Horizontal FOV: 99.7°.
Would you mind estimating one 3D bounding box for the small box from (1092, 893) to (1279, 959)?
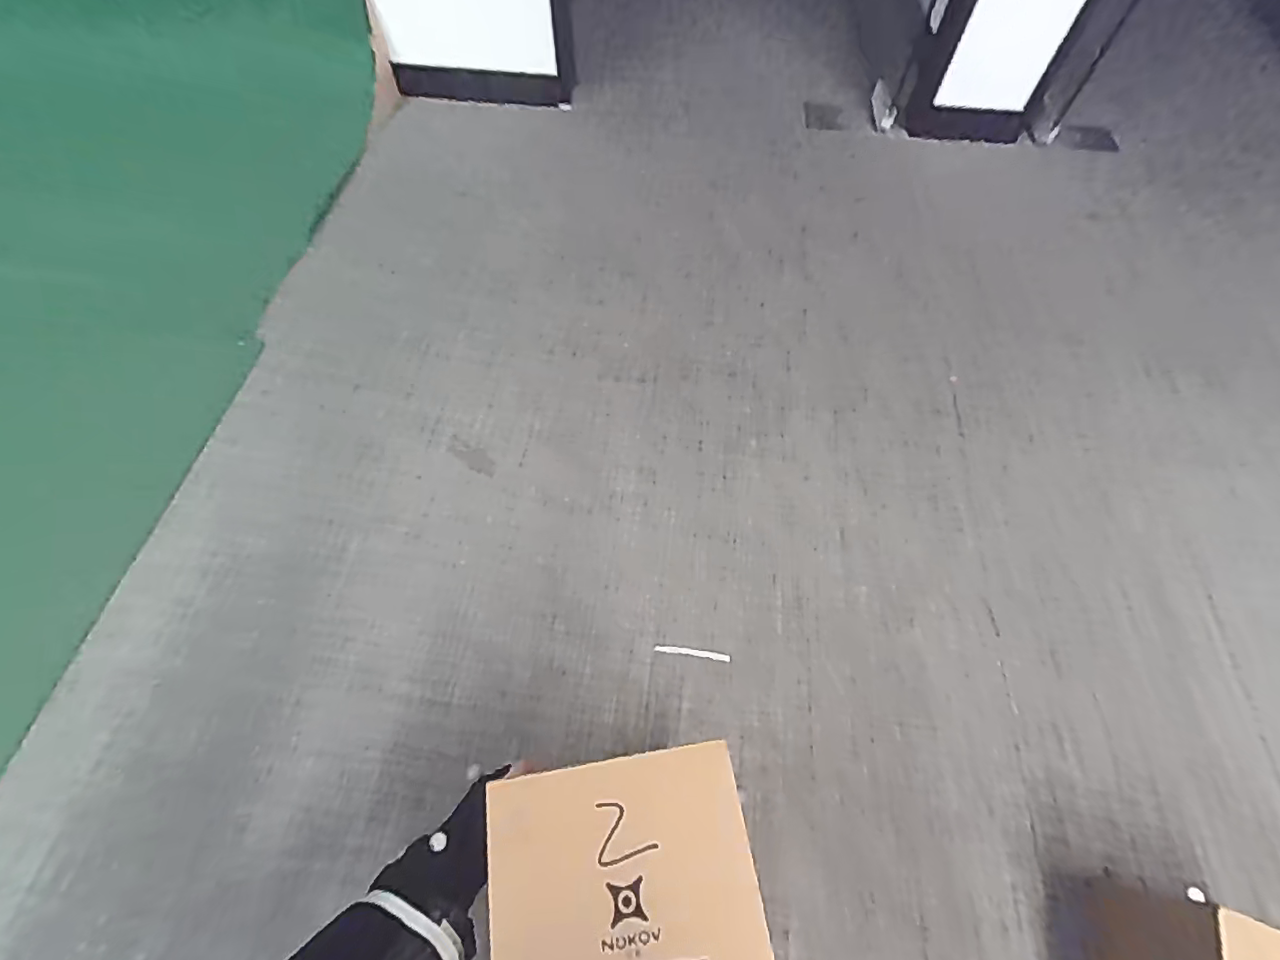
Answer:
[{"bbox_3d":[0.597,0.551,0.539,0.168,0.176,0.179,19,61,10],"label":"small box"}]
